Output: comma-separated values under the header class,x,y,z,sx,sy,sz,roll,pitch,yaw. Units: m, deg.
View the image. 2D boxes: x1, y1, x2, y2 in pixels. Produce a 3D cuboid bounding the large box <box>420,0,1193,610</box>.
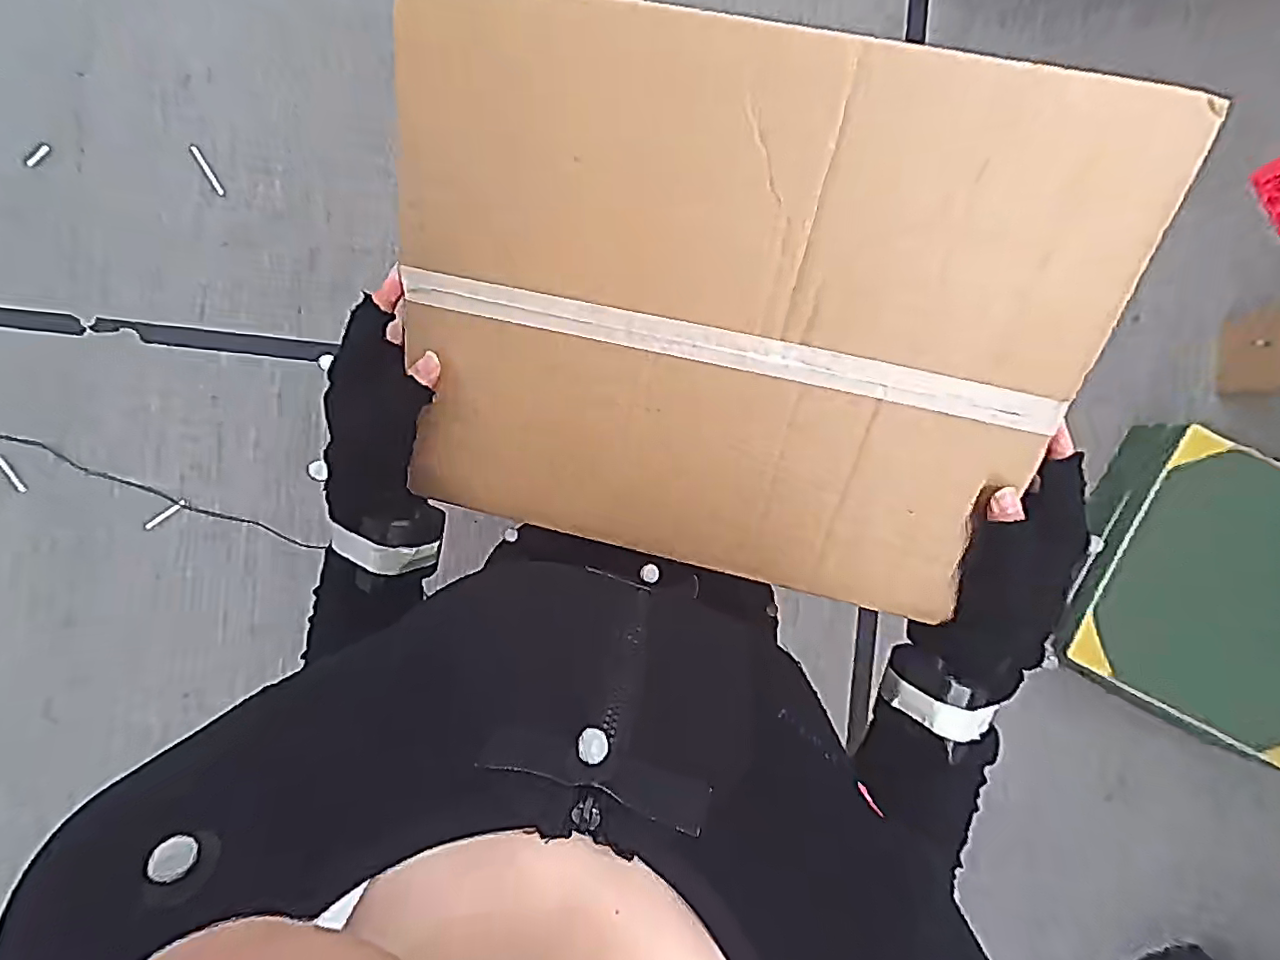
class,x,y,z,sx,sy,sz,roll,pitch,yaw
large box,0.073,-0.143,0.473,0.408,0.320,0.320,14,117,5
